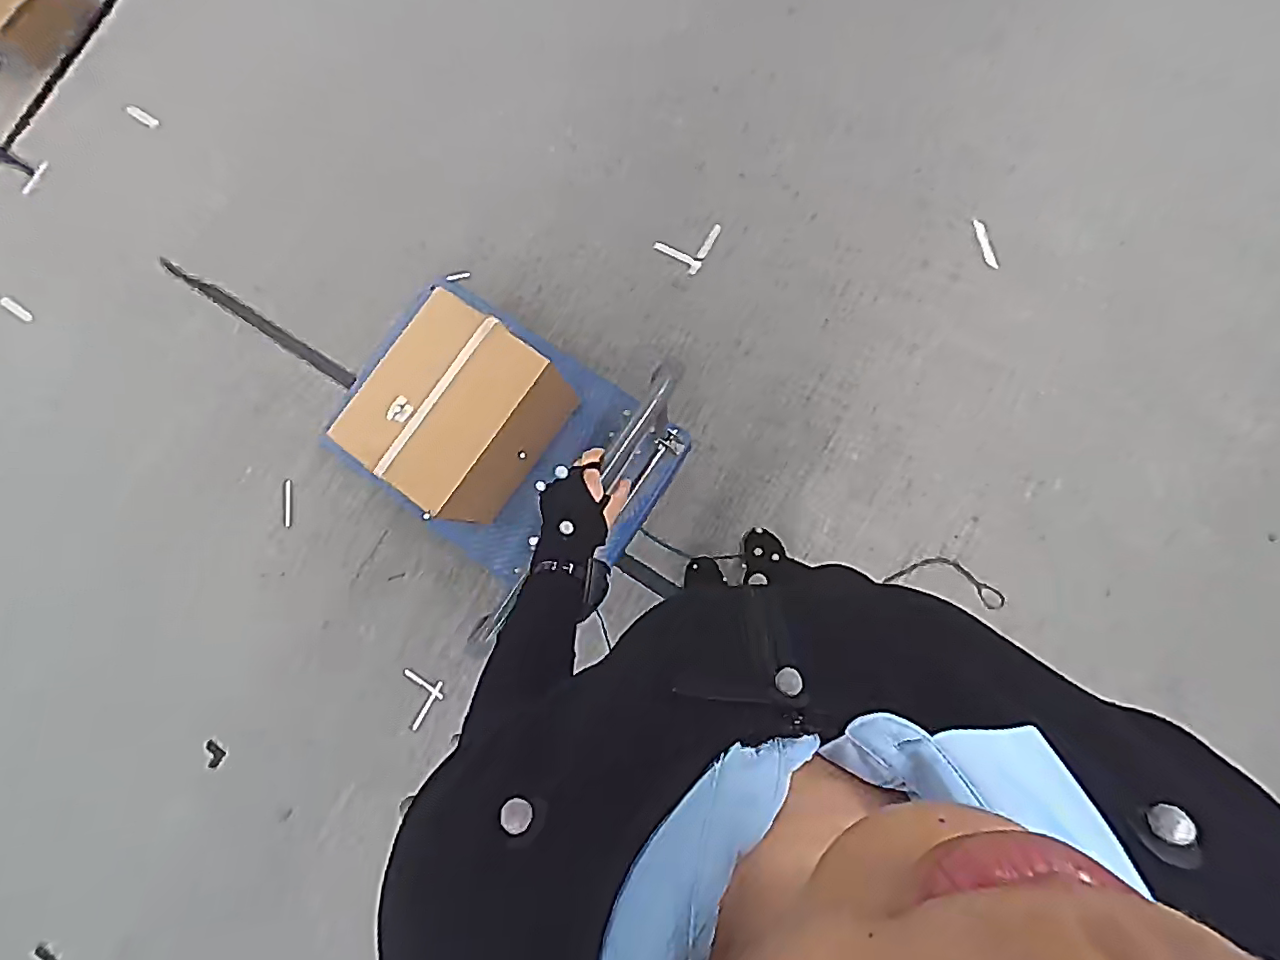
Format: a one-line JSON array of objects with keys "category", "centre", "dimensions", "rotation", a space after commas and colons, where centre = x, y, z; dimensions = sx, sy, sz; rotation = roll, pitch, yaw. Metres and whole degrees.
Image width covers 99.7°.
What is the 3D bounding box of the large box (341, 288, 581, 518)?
[{"category": "large box", "centre": [-0.399, -0.161, 1.299], "dimensions": [0.320, 0.320, 0.408], "rotation": [35, 88, 11]}]
